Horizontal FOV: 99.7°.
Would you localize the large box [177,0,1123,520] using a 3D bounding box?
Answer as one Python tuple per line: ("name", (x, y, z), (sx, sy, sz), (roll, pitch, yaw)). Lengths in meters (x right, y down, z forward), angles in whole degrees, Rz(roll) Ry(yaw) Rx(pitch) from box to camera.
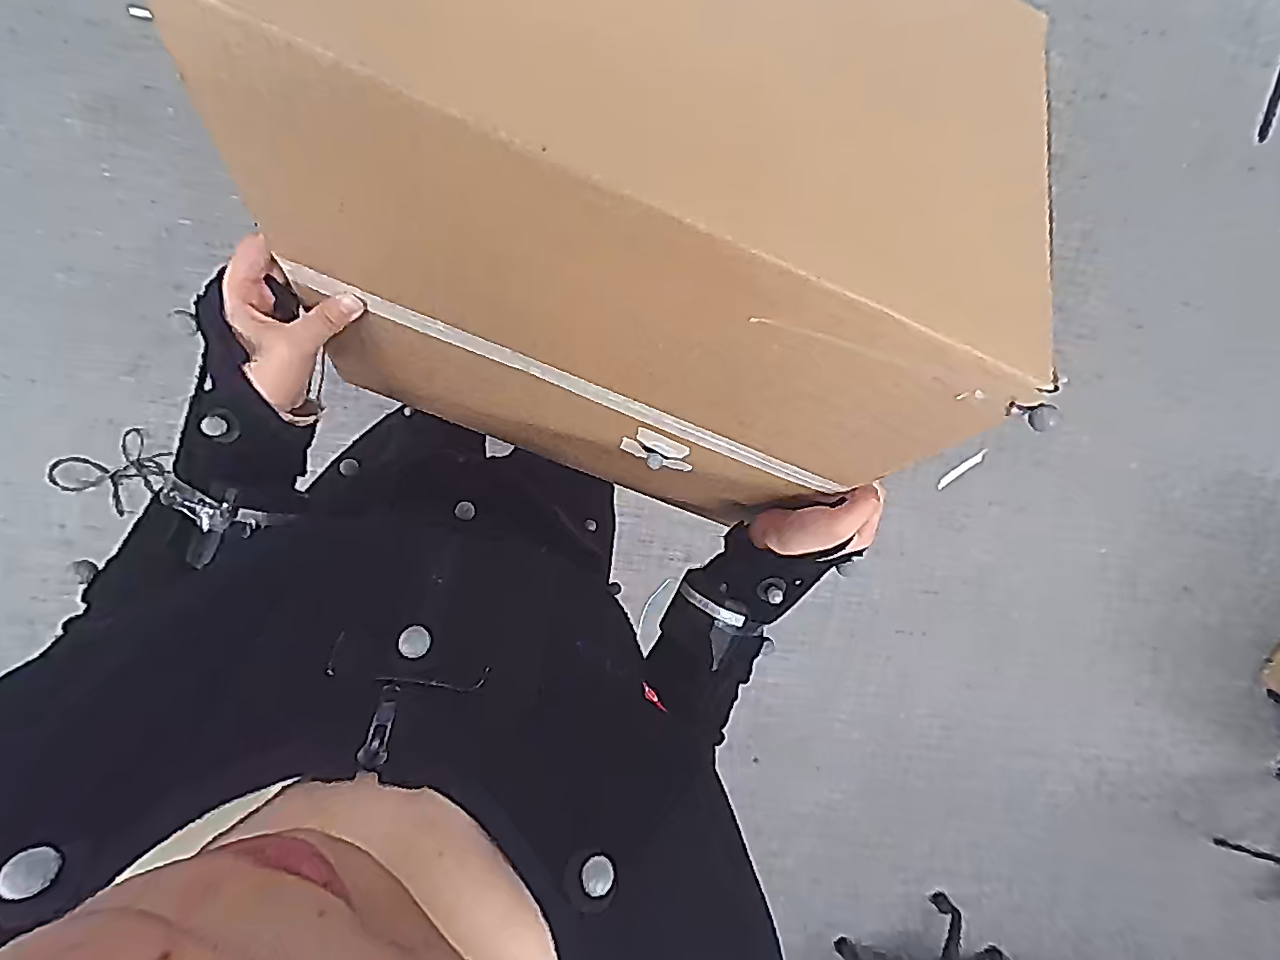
("large box", (0.019, -0.208, 0.394), (0.408, 0.320, 0.320), (19, 69, -8))
